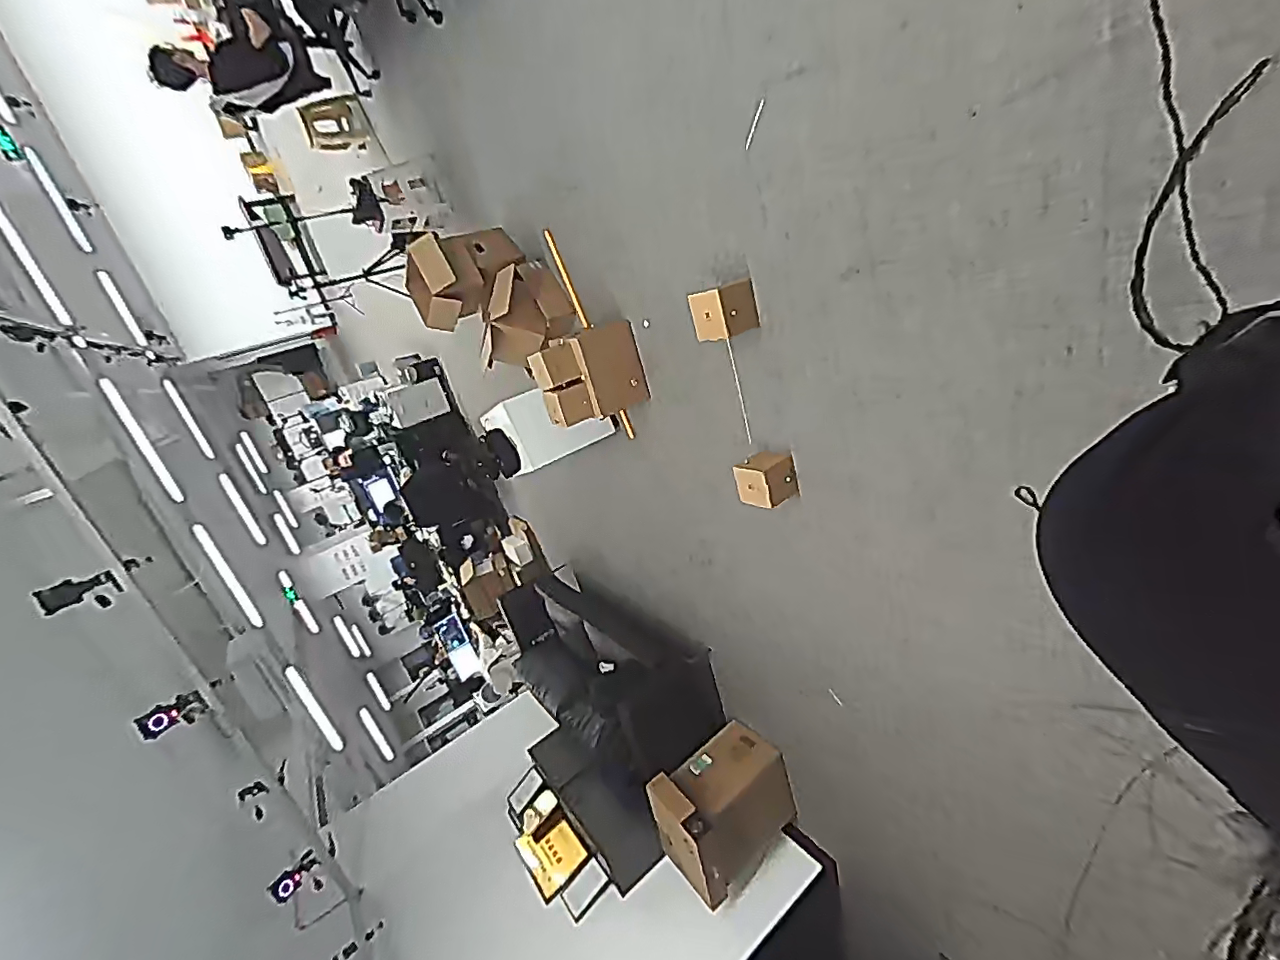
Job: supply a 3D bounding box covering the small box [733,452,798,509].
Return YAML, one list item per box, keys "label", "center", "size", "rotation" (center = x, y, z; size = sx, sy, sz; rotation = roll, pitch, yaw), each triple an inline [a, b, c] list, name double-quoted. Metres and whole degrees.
- label: "small box"
  center: [0.513, -0.004, 2.202]
  size: [0.179, 0.176, 0.168]
  rotation: [13, 127, 55]

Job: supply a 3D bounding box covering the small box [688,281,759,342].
- label: "small box"
  center: [0.308, -0.620, 1.981]
  size: [0.168, 0.176, 0.179]
  rotation: [13, 127, 55]
